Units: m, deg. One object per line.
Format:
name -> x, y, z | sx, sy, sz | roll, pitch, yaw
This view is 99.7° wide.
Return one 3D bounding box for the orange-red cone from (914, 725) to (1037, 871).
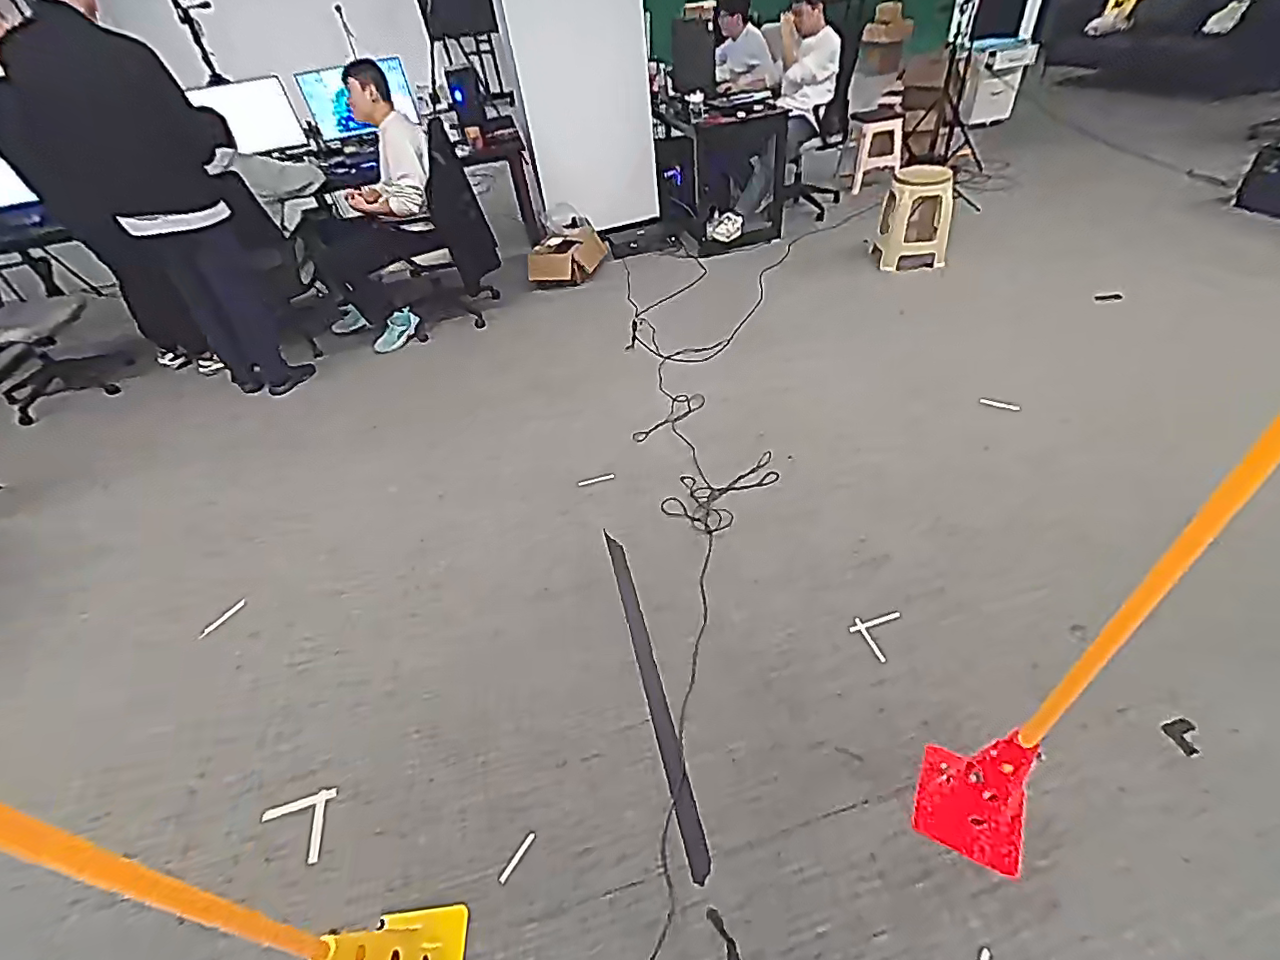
orange-red cone -> 0.685, 0.566, 1.041 | 0.198, 0.360, 0.199 | 17, 50, 27
